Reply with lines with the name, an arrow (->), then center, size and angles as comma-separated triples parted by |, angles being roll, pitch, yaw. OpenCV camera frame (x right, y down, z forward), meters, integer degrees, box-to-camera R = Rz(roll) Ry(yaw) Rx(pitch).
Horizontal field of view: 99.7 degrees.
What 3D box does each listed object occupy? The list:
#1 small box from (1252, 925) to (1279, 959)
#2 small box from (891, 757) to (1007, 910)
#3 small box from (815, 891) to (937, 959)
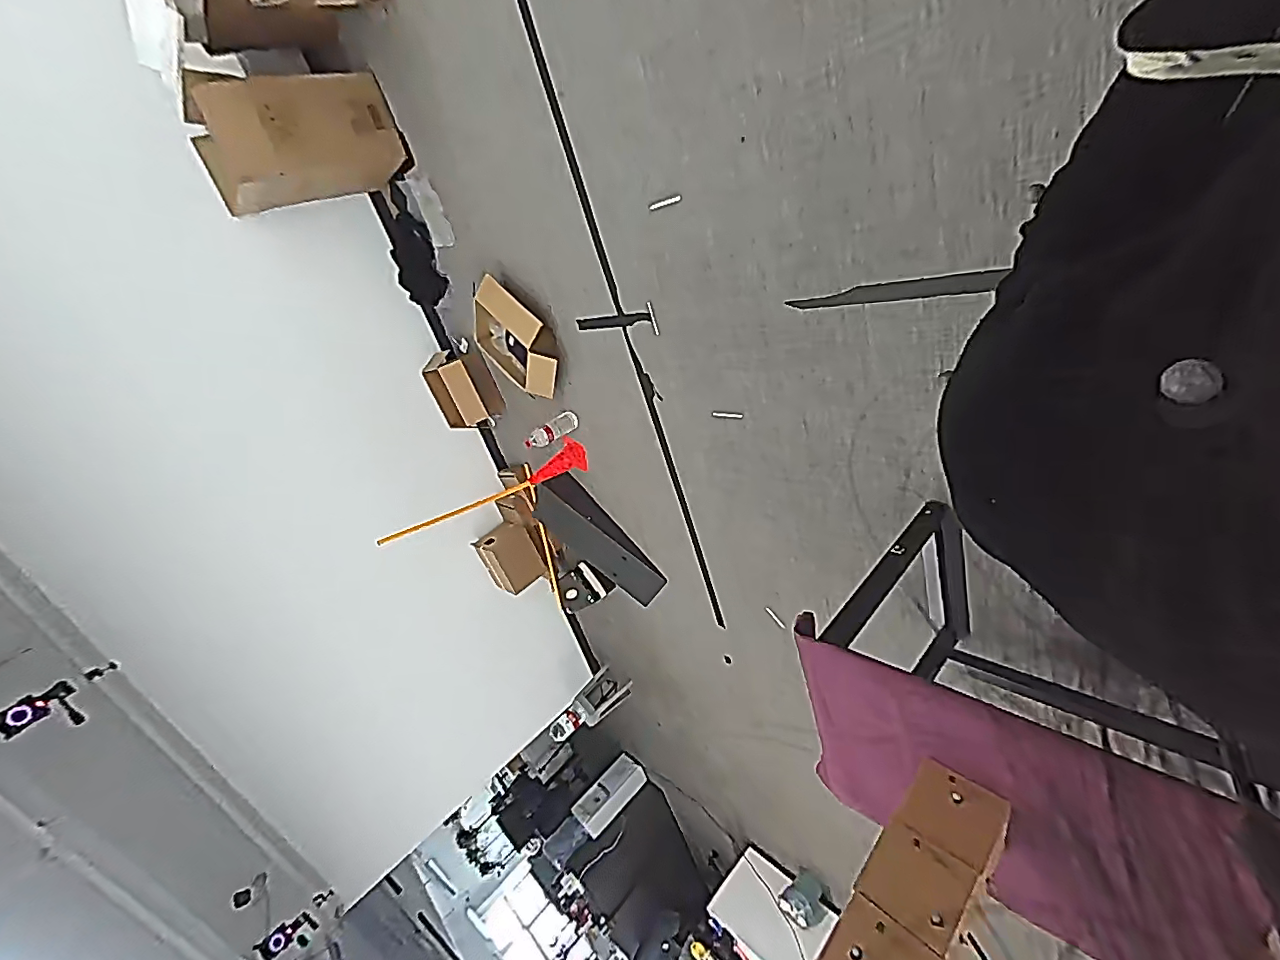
small box -> 0.970, 0.787, 0.748 | 0.168, 0.176, 0.179 | 14, 130, 47
small box -> 0.648, 0.734, 1.137 | 0.168, 0.176, 0.179 | 18, 133, 44
small box -> 0.420, 0.892, 0.964 | 0.168, 0.176, 0.179 | 21, 137, 44
